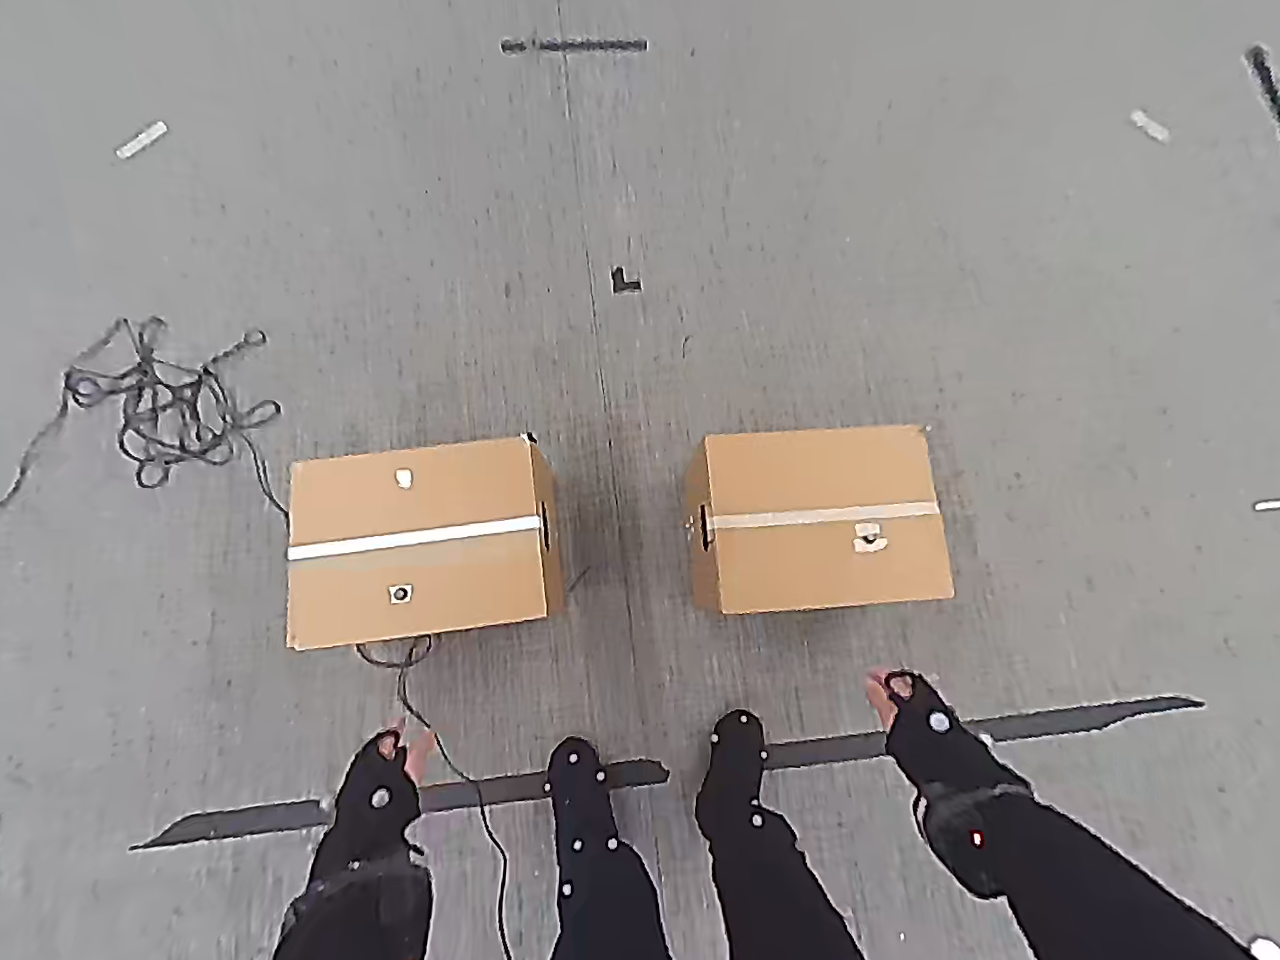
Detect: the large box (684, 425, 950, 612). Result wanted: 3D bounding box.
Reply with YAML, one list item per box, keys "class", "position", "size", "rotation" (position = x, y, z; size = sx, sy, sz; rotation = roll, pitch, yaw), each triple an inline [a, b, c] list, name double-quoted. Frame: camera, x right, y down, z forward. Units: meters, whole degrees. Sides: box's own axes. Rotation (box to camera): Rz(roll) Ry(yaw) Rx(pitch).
- class: "large box"
  position: [0.319, 0.091, 1.094]
  size: [0.408, 0.320, 0.320]
  rotation: [-3, 78, -4]
